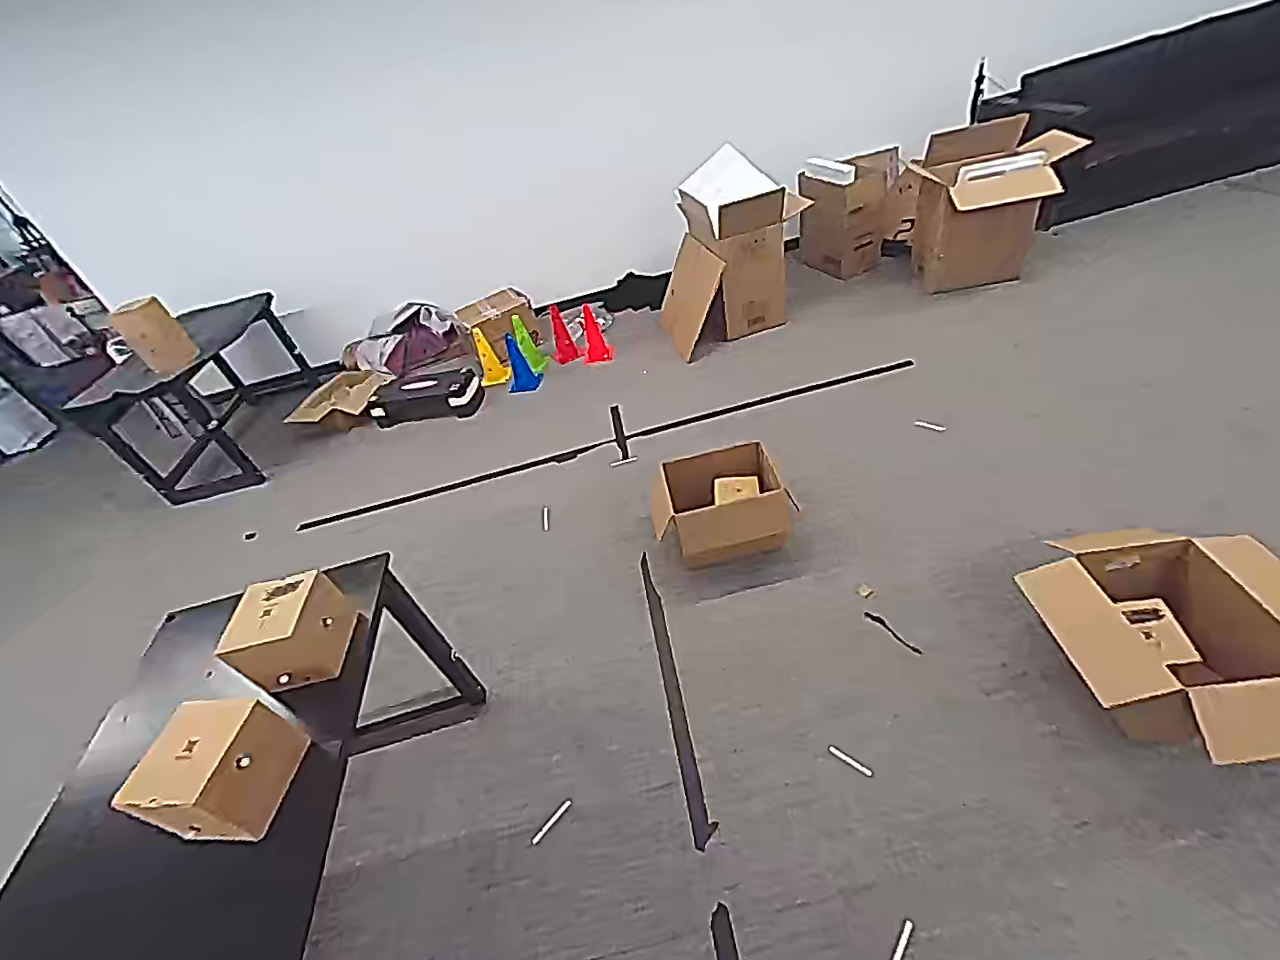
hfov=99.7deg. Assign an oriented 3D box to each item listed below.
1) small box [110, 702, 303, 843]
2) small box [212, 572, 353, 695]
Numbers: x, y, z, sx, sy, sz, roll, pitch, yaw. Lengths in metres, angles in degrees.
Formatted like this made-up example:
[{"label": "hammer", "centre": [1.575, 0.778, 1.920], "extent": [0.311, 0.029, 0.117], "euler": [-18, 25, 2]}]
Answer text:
[{"label": "small box", "centre": [-0.747, 0.519, 0.962], "extent": [0.168, 0.176, 0.179], "euler": [-7, 41, 11]}, {"label": "small box", "centre": [-0.757, 0.334, 1.172], "extent": [0.168, 0.176, 0.179], "euler": [-15, 42, 2]}]
